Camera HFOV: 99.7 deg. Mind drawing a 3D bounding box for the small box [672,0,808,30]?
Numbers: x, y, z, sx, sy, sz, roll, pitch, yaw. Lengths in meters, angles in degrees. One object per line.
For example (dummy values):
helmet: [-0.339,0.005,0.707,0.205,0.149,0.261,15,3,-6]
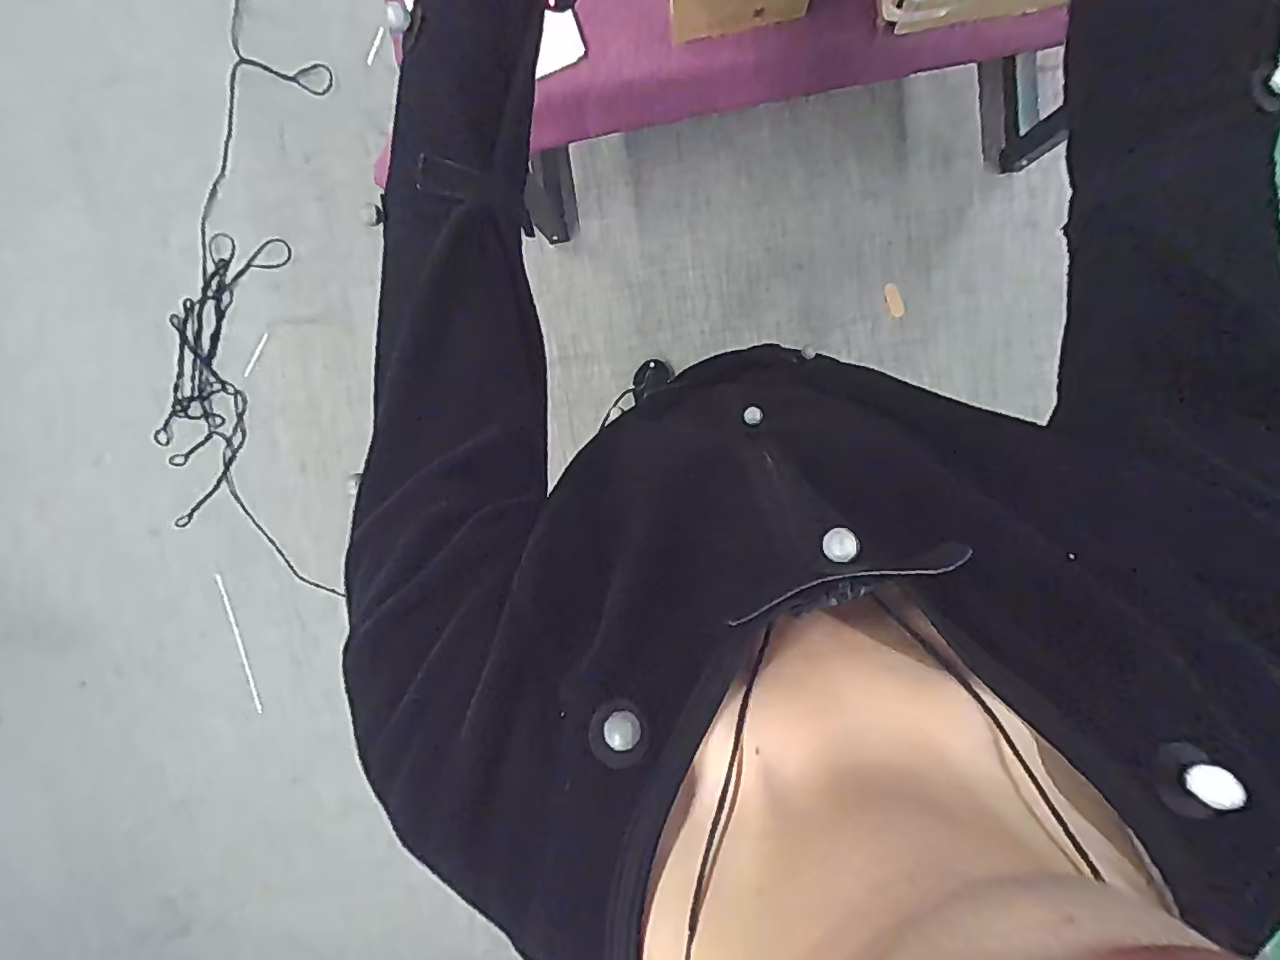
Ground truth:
small box: [0.110,-0.637,0.588,0.168,0.176,0.179,-6,98,5]
